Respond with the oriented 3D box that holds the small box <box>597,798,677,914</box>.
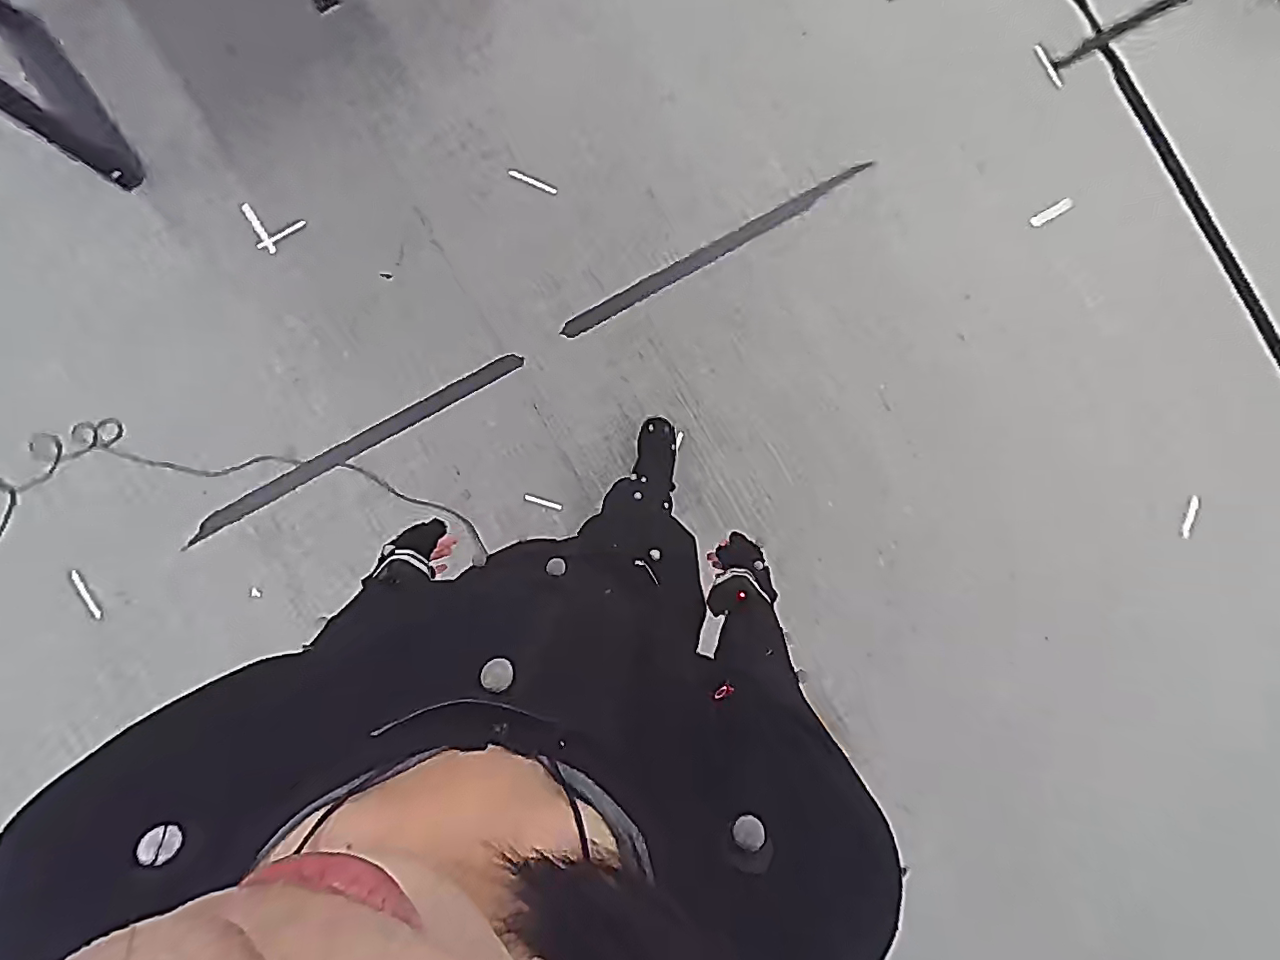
[{"bbox_3d":[-0.013,0.970,1.418,0.168,0.176,0.179,-16,89,-4],"label":"small box"}]
